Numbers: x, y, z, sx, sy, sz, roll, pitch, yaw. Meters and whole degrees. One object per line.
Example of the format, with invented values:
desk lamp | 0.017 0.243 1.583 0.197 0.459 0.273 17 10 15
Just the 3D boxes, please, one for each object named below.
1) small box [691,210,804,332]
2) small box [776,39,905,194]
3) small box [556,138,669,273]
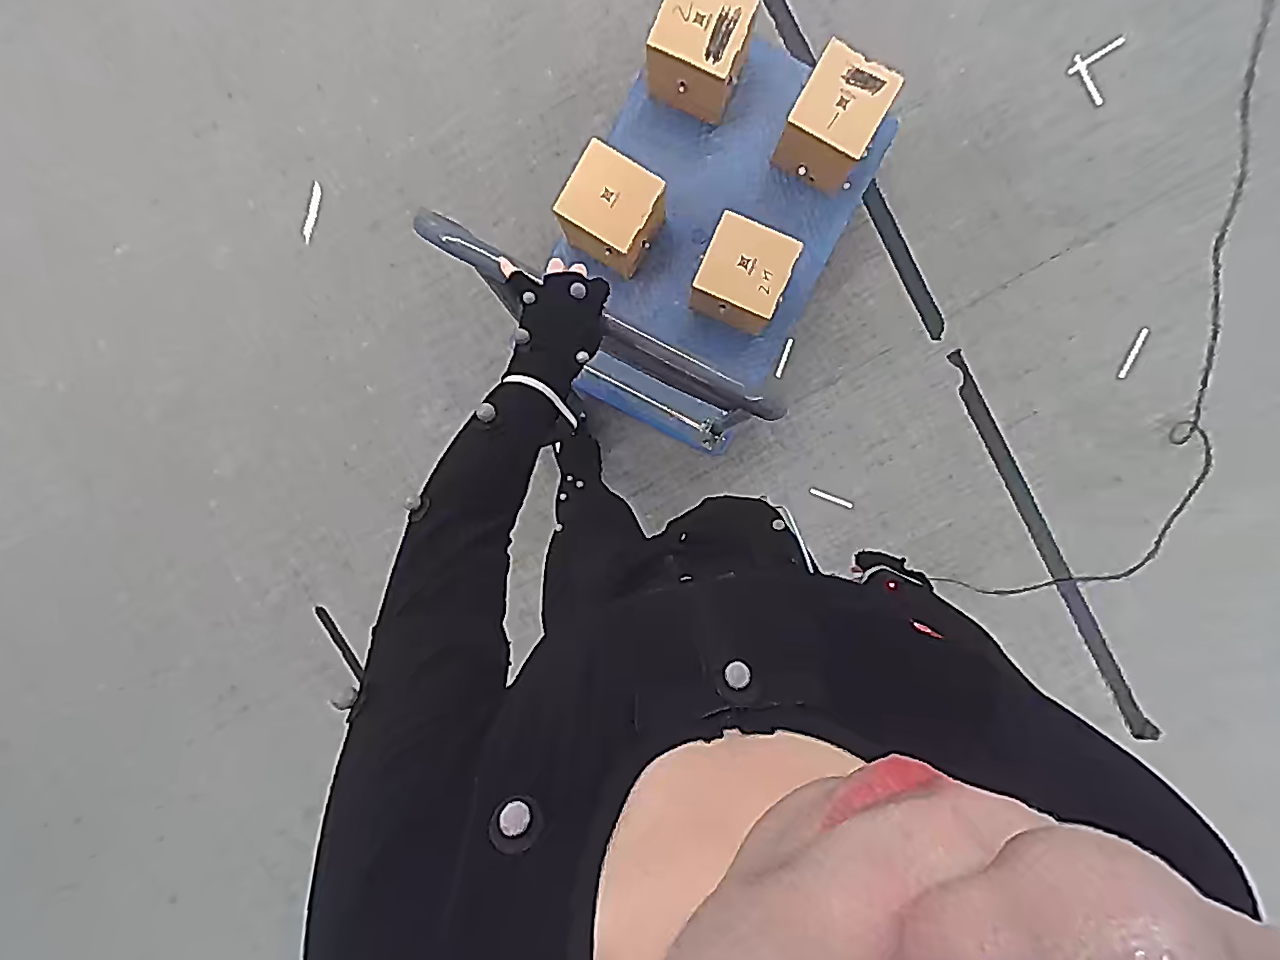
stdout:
small box | 0.220 -0.437 1.163 0.179 0.176 0.168 24 95 0
small box | 0.407 -0.749 1.135 0.168 0.176 0.179 30 96 -1
small box | -0.056 -0.576 1.164 0.179 0.176 0.168 31 94 -2
